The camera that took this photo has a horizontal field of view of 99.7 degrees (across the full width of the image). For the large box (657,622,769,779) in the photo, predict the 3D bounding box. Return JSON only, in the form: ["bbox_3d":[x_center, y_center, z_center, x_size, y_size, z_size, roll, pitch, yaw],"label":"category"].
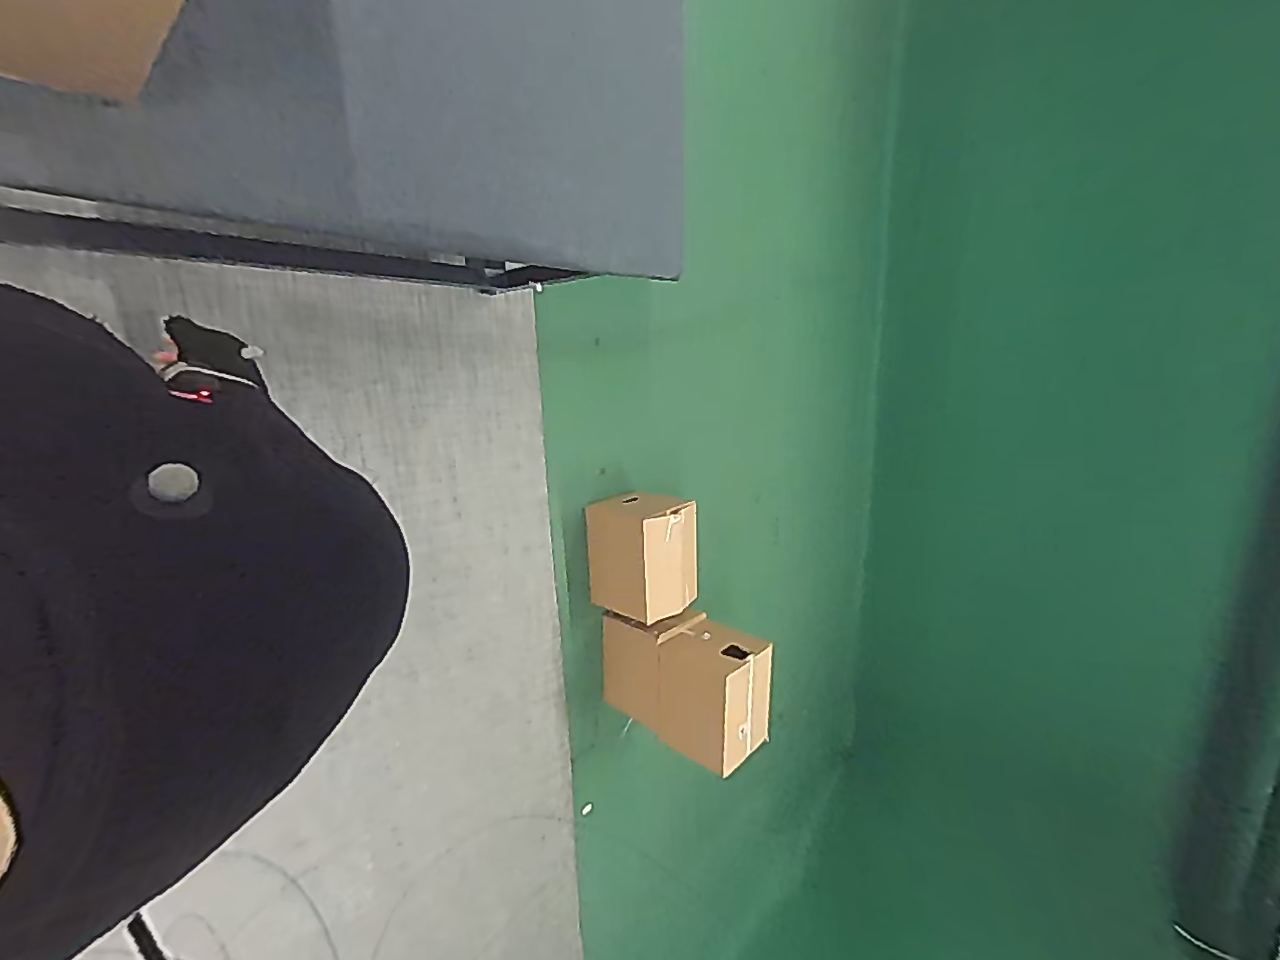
[{"bbox_3d":[0.274,0.816,2.061,0.320,0.320,0.408,-12,107,-45],"label":"large box"}]
